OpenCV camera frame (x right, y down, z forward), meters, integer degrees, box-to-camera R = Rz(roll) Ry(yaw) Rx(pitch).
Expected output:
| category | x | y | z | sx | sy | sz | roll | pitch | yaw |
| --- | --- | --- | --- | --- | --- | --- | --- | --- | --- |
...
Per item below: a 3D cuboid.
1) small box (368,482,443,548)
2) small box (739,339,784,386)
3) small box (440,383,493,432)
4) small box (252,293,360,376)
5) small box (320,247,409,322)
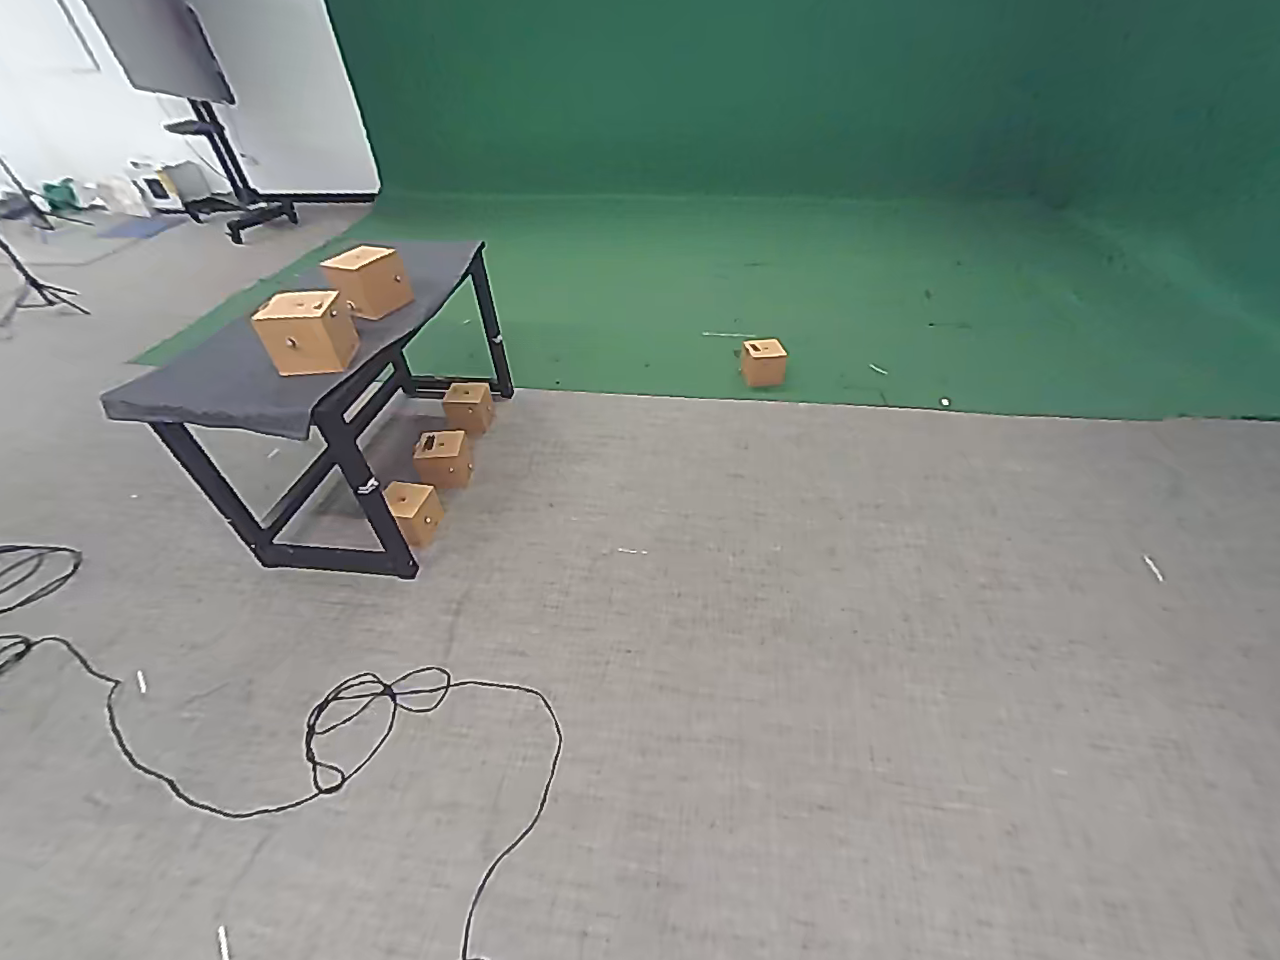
| category | x | y | z | sx | sy | sz | roll | pitch | yaw |
| --- | --- | --- | --- | --- | --- | --- | --- | --- | --- |
| small box | -0.859 | 0.132 | 2.003 | 0.179 | 0.176 | 0.168 | 6 | 44 | 10 |
| small box | 0.602 | -0.584 | 2.704 | 0.179 | 0.176 | 0.168 | -7 | 43 | -6 |
| small box | -0.793 | -0.333 | 2.495 | 0.179 | 0.176 | 0.168 | 0 | 42 | 3 |
| small box | -0.920 | -0.402 | 1.507 | 0.179 | 0.176 | 0.168 | -5 | 43 | -3 |
| small box | -0.883 | -0.638 | 1.760 | 0.168 | 0.176 | 0.179 | 16 | 47 | 23 |
